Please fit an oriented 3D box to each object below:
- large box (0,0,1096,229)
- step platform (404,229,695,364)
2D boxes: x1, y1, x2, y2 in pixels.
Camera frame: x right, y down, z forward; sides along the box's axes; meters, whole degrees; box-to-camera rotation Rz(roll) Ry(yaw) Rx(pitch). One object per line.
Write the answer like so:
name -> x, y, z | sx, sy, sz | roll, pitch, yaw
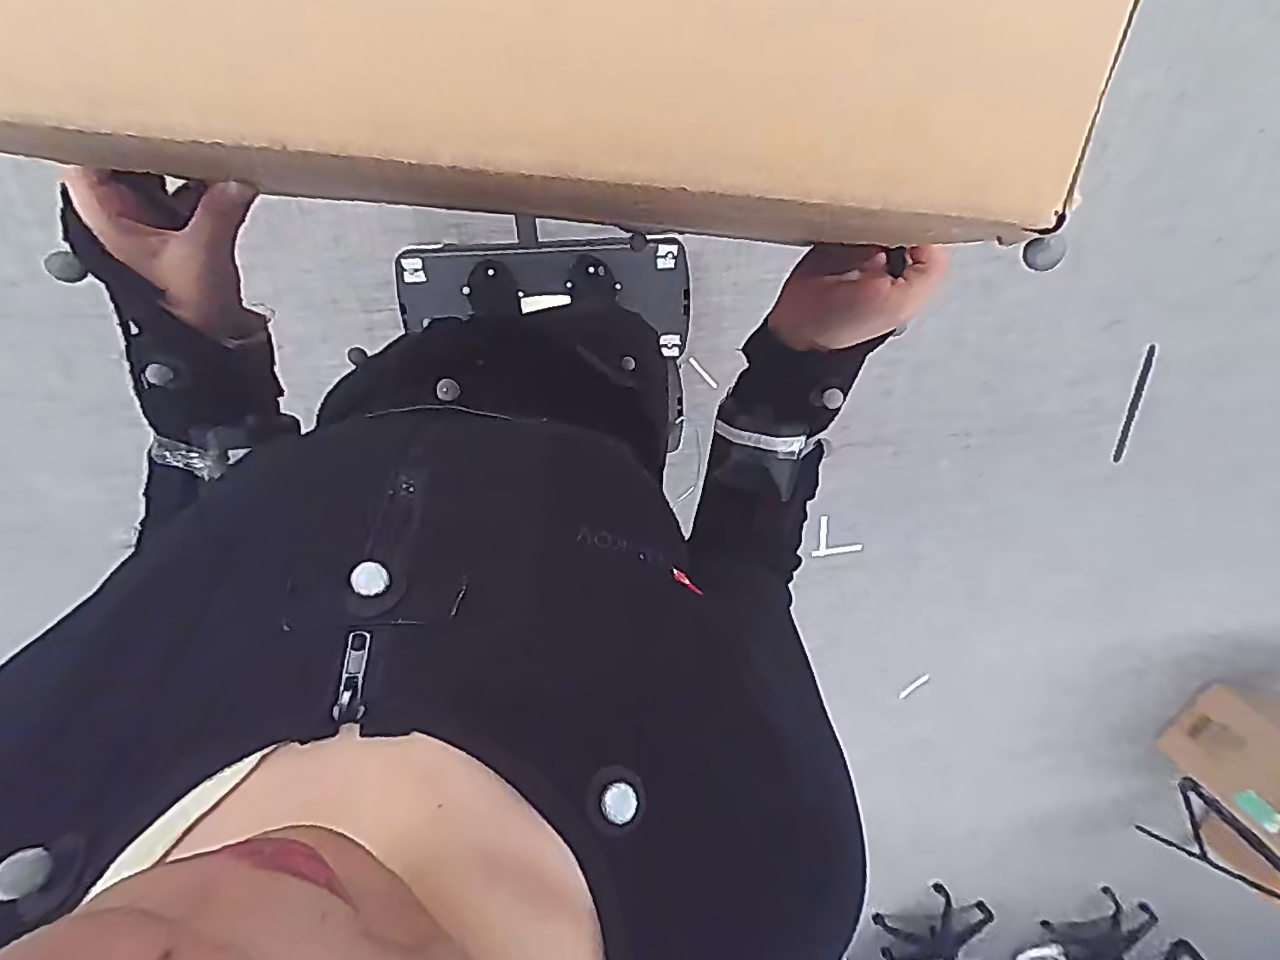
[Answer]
large box -> -0.064, -0.300, 0.240 | 0.408, 0.320, 0.320 | 3, 115, -2
step platform -> -0.207, -0.445, 1.324 | 0.684, 0.204, 0.286 | -1, 116, -7
